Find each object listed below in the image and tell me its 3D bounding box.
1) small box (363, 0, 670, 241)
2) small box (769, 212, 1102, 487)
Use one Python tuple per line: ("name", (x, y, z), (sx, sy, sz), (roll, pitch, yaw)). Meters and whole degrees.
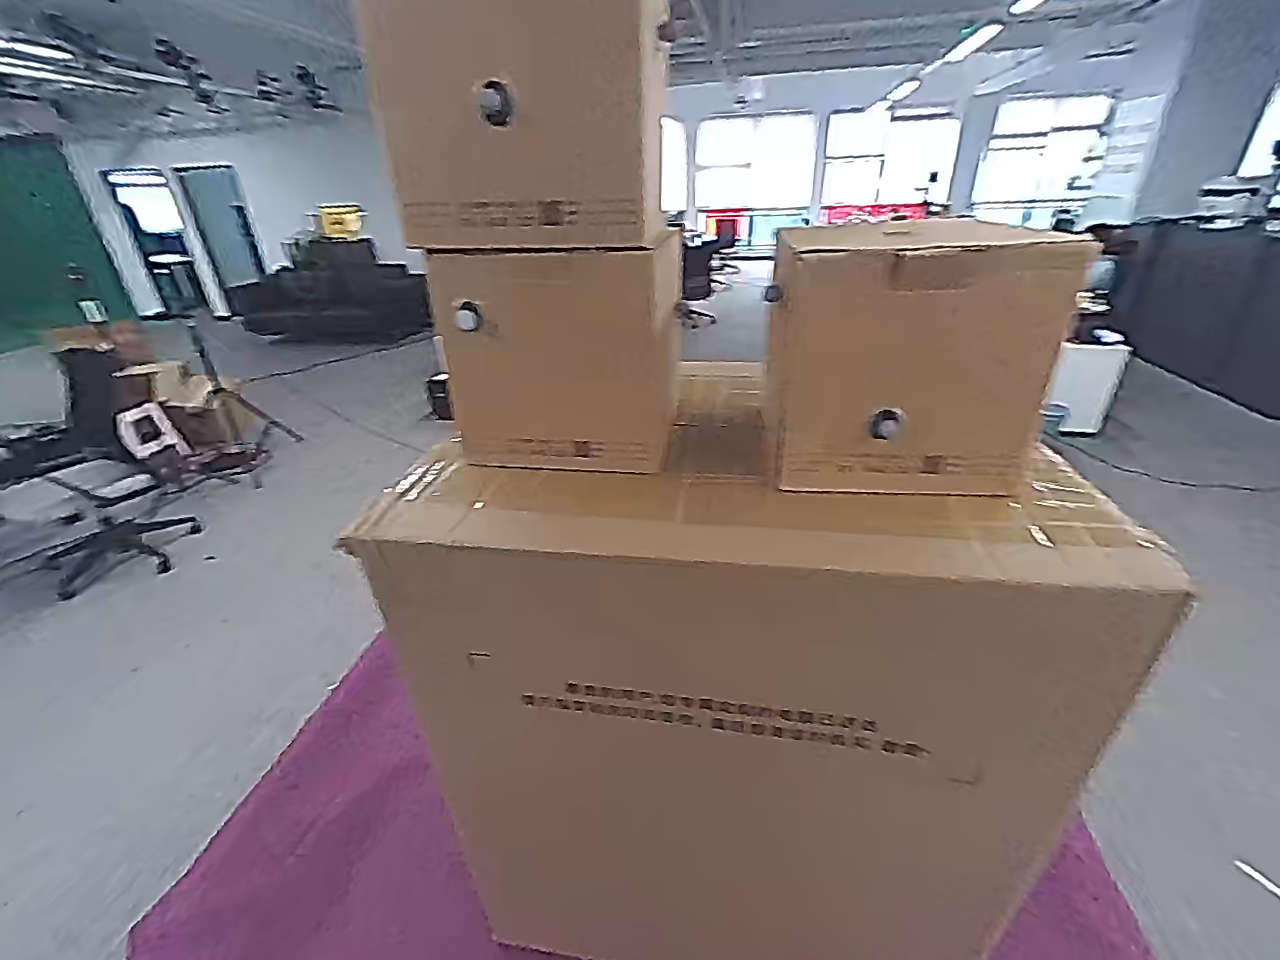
("small box", (-0.065, -0.269, 0.390), (0.168, 0.176, 0.179), (2, 28, 6))
("small box", (0.193, -0.109, 0.422), (0.168, 0.176, 0.179), (1, 29, 8))
